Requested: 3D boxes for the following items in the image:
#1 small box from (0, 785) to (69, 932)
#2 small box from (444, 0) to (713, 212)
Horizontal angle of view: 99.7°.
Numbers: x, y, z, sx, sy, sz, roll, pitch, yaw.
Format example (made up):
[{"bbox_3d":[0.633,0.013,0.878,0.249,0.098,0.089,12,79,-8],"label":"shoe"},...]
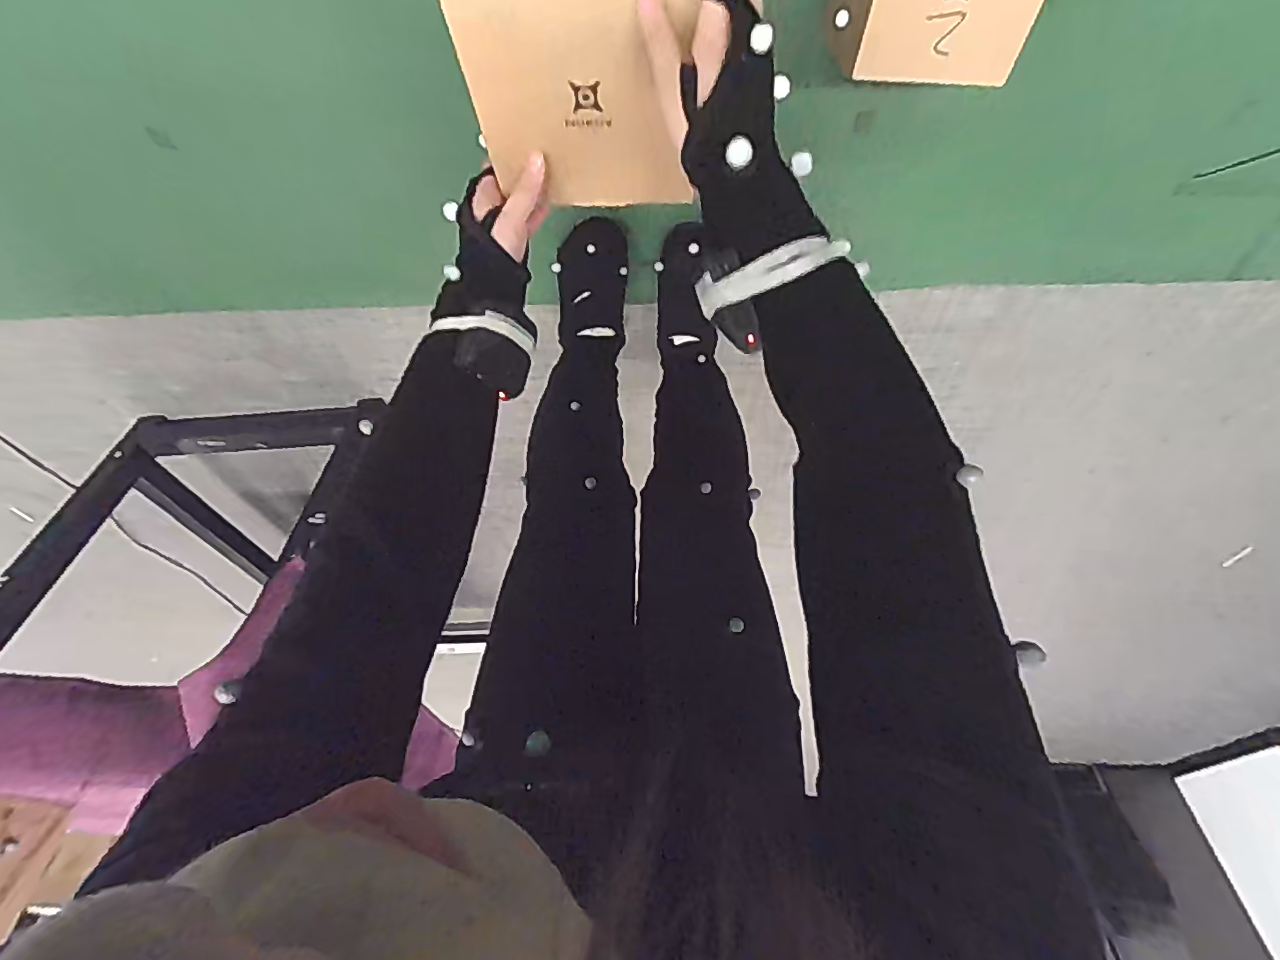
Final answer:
[{"bbox_3d":[-0.991,0.533,0.756,0.179,0.176,0.168,-3,141,1],"label":"small box"},{"bbox_3d":[-0.035,-0.342,0.416,0.168,0.176,0.179,0,161,3],"label":"small box"}]
